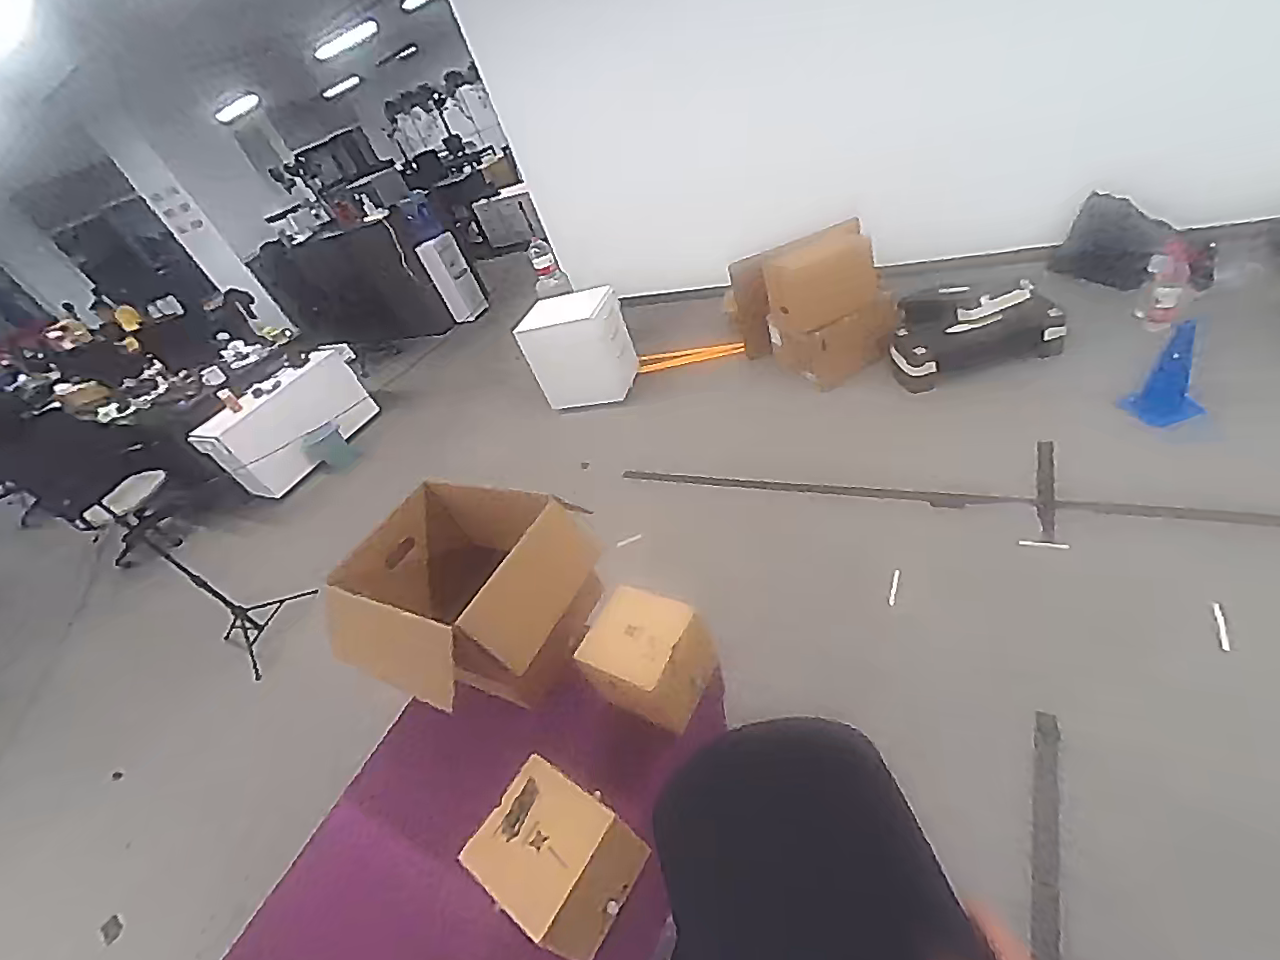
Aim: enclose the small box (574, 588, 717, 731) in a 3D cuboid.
[{"bbox_3d":[0.016,0.329,0.992,0.179,0.176,0.168,9,50,36],"label":"small box"}]
